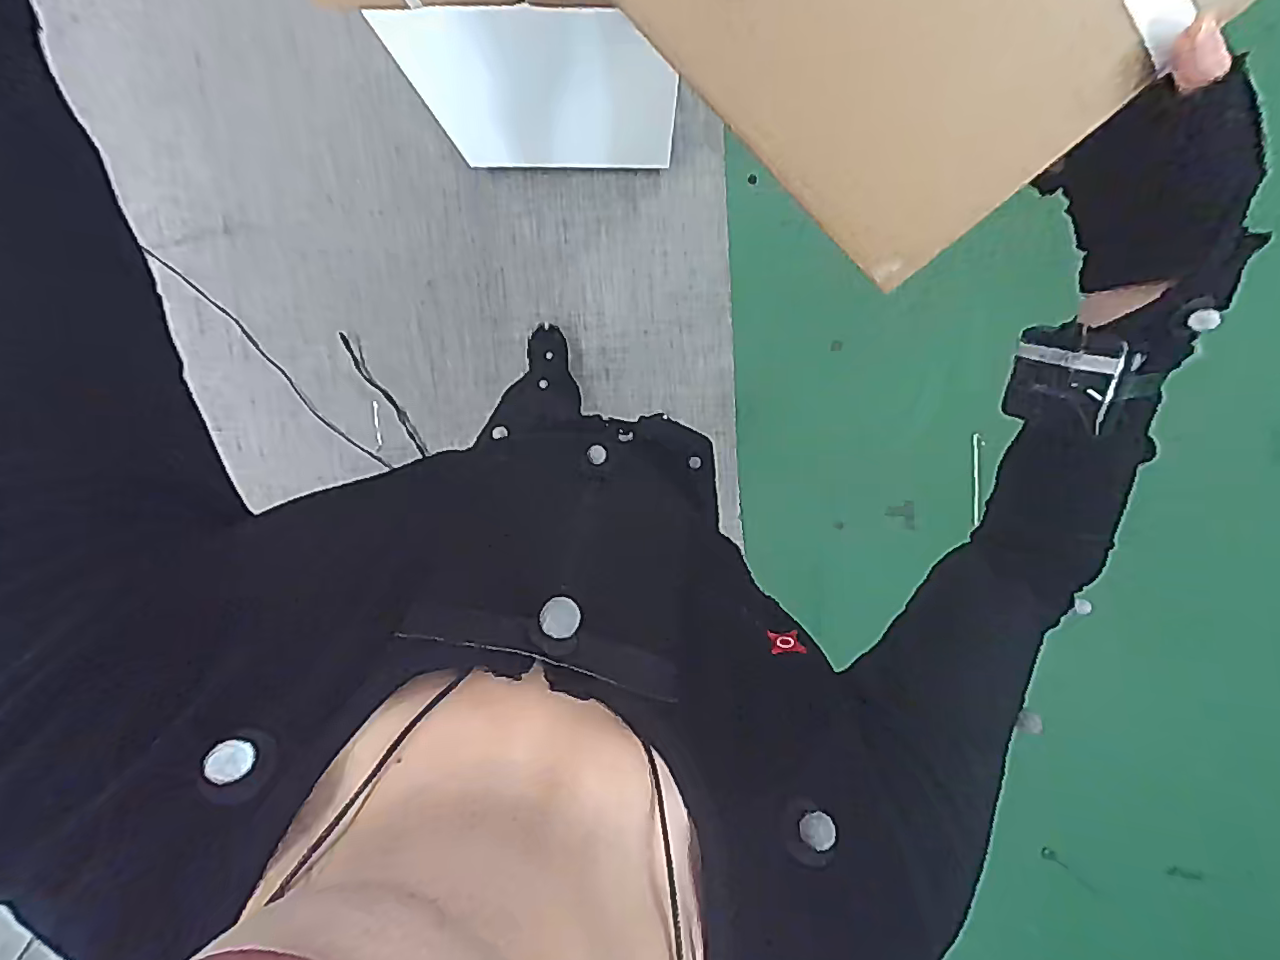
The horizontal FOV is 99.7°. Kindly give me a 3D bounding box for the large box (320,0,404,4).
[{"bbox_3d":[-0.339,-0.896,0.641,0.320,0.320,0.408,-1,96,0],"label":"large box"}]
